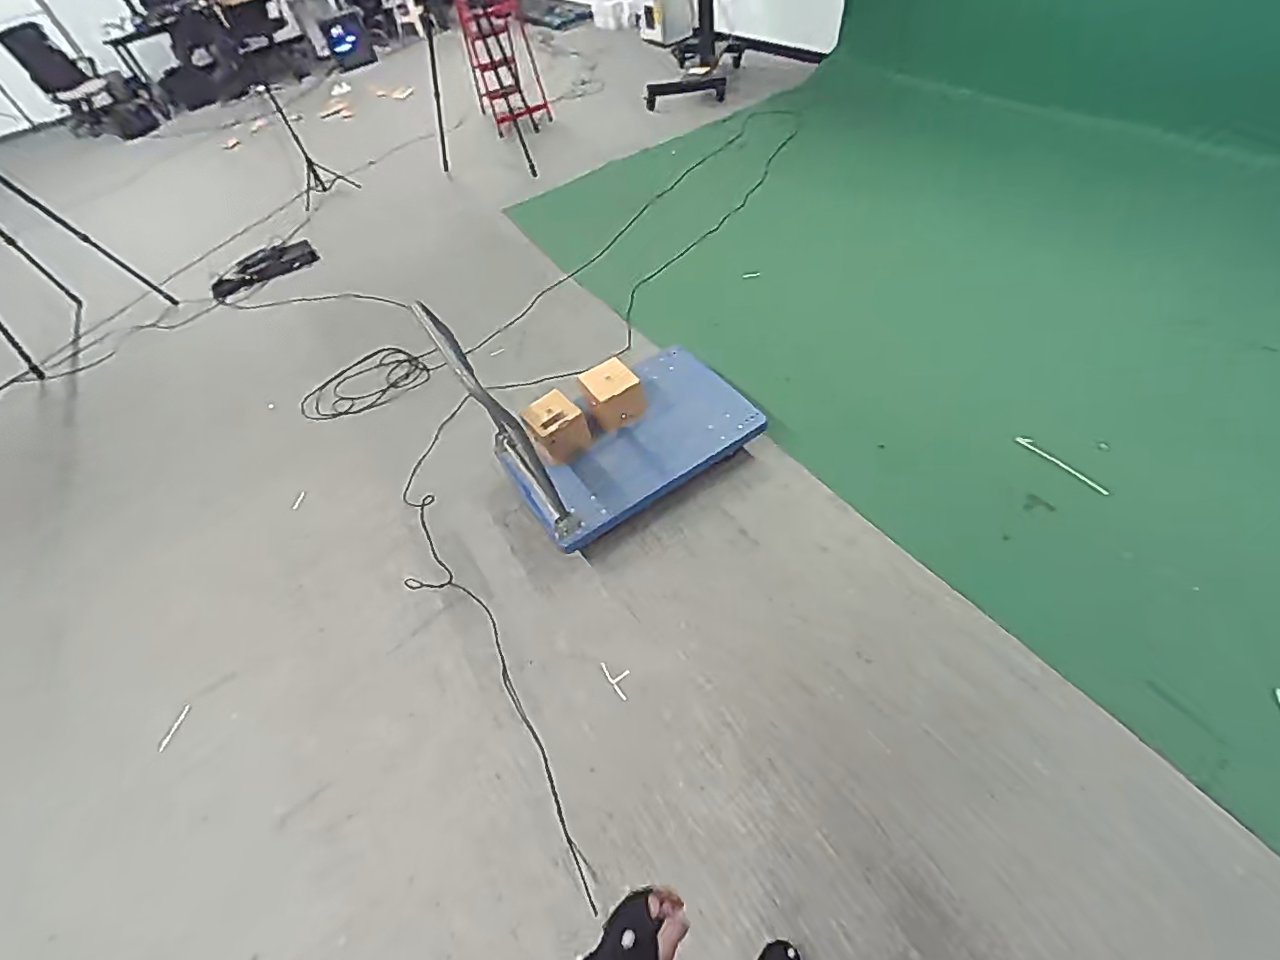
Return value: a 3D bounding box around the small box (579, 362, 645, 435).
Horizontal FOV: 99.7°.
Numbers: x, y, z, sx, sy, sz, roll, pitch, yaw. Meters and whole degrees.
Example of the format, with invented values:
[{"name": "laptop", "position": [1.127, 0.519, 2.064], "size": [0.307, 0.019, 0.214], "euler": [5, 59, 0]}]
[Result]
[{"name": "small box", "position": [-0.100, -0.297, 1.990], "size": [0.168, 0.176, 0.179], "euler": [-31, 55, -14]}]
